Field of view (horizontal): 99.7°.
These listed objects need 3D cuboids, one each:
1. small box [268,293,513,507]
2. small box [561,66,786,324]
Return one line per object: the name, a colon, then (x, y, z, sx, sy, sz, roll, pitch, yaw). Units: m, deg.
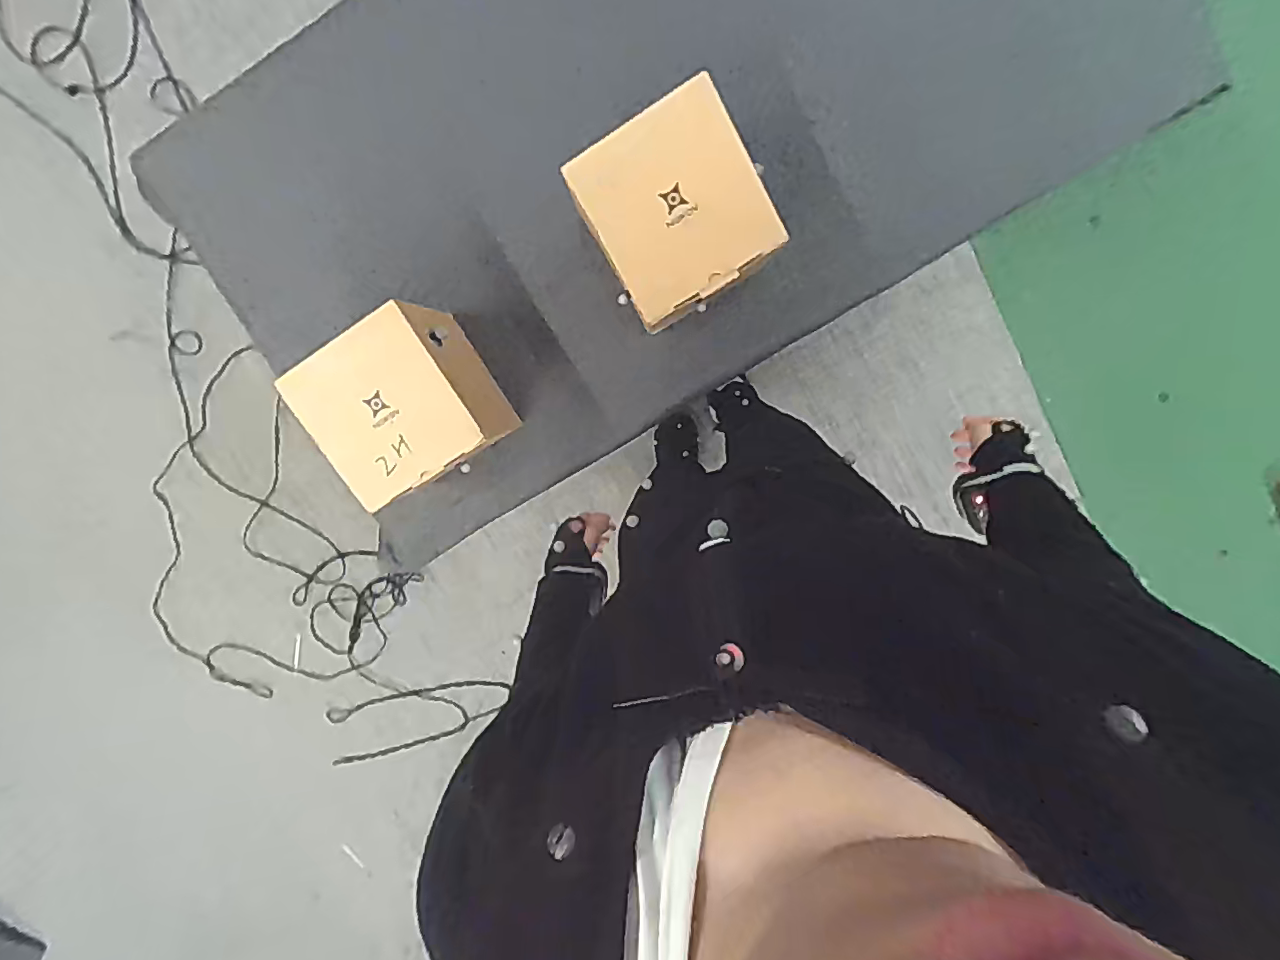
small box: (-0.281, -0.096, 0.653, 0.168, 0.176, 0.179, -31, 100, 7)
small box: (0.033, -0.295, 0.608, 0.168, 0.176, 0.179, -30, 101, 7)
